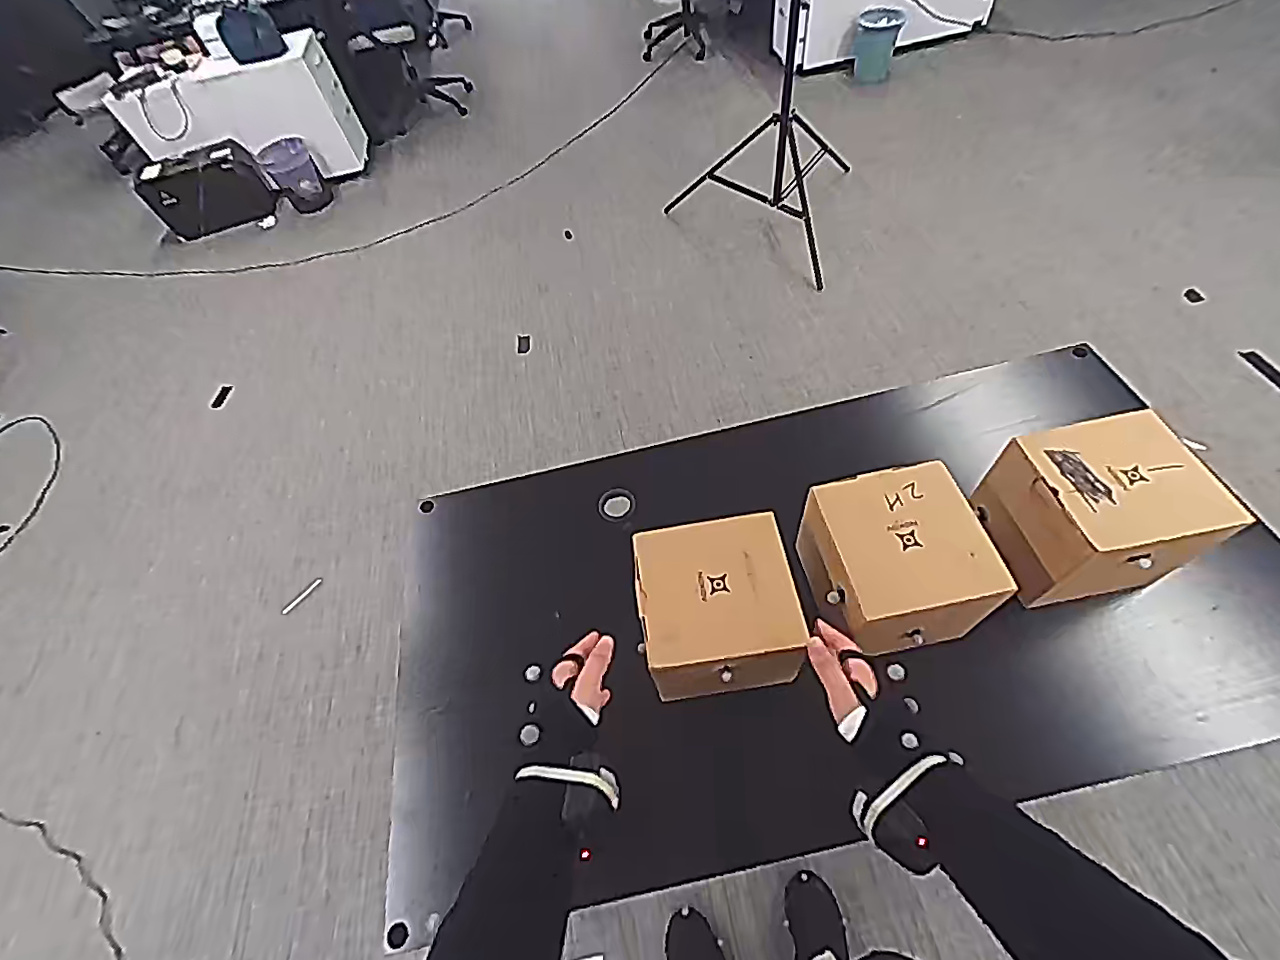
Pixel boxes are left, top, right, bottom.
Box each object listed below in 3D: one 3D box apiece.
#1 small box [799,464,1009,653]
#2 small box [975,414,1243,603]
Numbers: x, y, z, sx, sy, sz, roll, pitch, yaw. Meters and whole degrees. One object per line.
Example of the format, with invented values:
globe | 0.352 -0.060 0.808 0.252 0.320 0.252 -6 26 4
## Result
small box | 0.316 0.110 0.692 0.168 0.176 0.179 -12 56 1
small box | 0.569 0.044 0.696 0.179 0.176 0.168 -11 56 1
